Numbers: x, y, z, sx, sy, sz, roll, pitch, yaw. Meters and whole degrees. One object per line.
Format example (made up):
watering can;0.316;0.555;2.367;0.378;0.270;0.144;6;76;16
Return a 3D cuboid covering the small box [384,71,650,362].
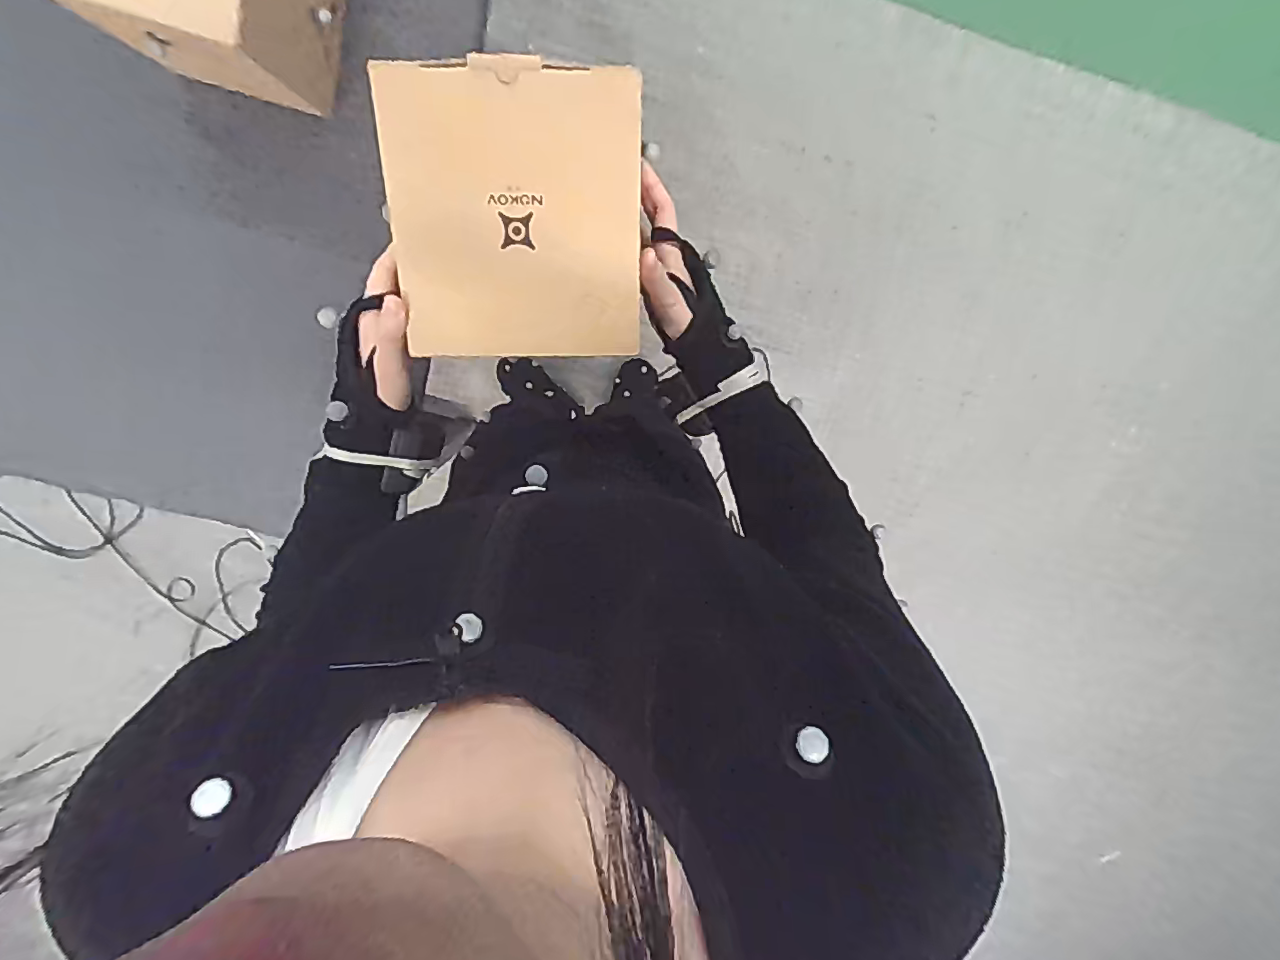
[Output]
small box;-0.079;-0.198;0.437;0.168;0.176;0.179;0;111;-3

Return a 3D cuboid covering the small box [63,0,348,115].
small box;-0.421;-0.495;0.529;0.179;0.176;0.168;14;104;-7
